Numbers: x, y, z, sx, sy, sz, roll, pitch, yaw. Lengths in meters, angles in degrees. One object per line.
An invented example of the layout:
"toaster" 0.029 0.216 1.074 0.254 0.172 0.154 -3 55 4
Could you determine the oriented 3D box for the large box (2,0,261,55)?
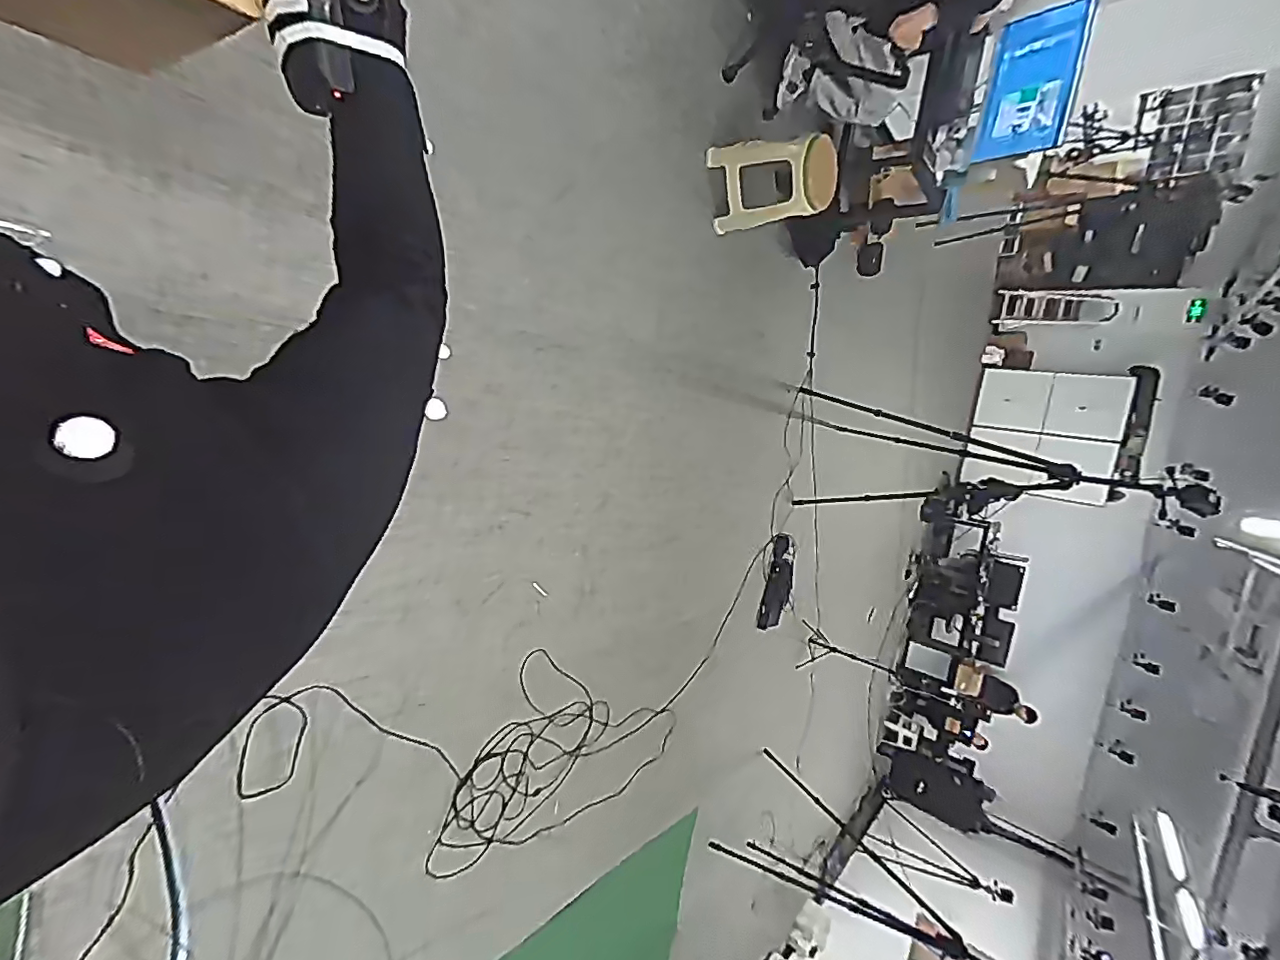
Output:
"large box" -0.470 -0.504 0.269 0.408 0.320 0.320 -8 115 -53
